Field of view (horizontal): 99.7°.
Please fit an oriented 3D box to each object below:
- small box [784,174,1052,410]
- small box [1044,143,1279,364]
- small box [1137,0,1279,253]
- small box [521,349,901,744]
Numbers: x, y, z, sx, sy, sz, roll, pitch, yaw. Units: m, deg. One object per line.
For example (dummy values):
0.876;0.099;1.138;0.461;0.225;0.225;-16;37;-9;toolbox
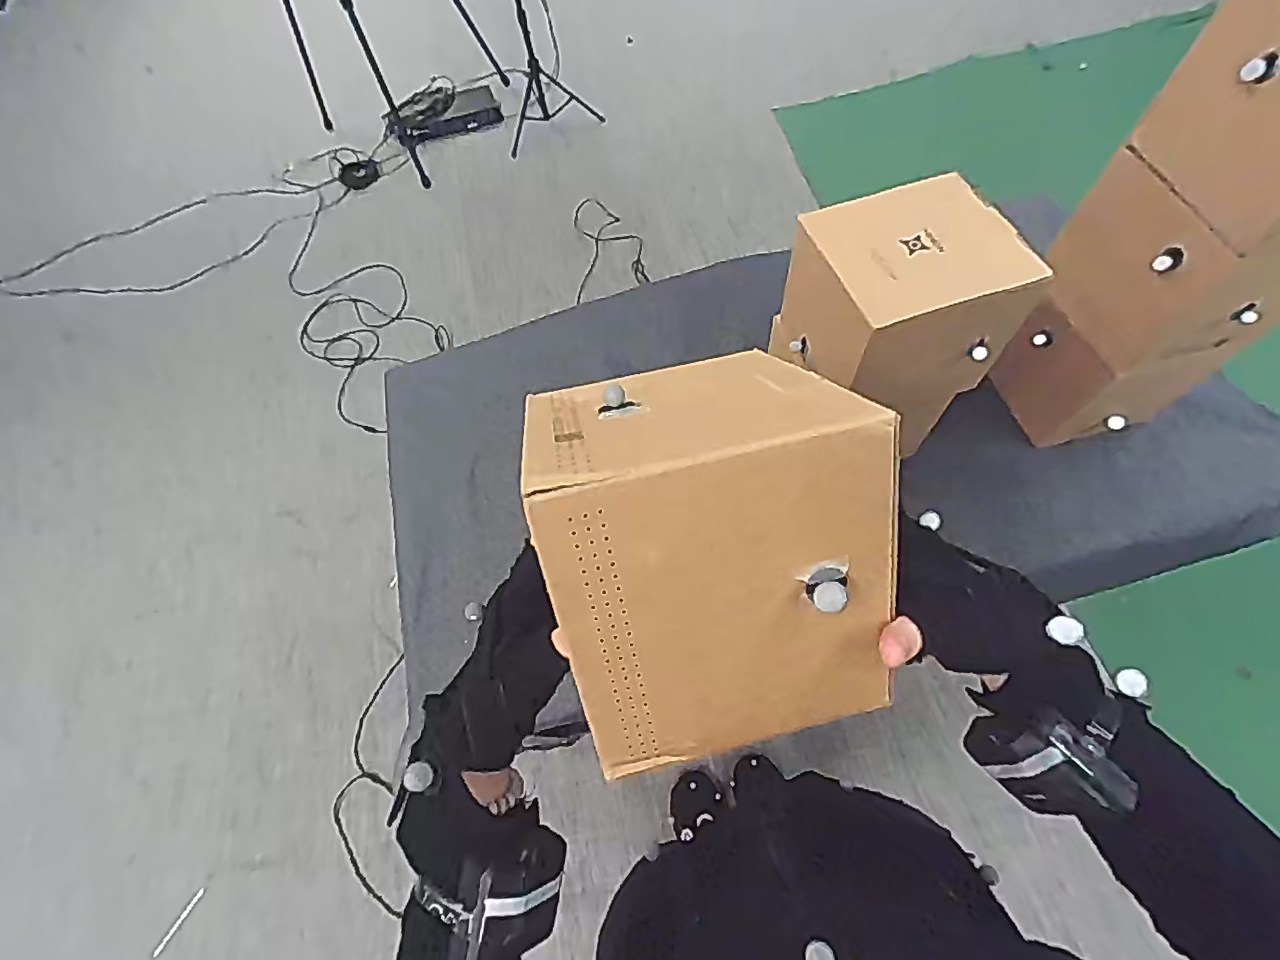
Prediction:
0.276;-0.187;0.589;0.179;0.176;0.168;-17;62;-2;small box
0.592;-0.245;0.579;0.168;0.176;0.179;-13;62;0;small box
0.573;-0.317;0.433;0.168;0.176;0.179;-11;62;2;small box
0.034;0.033;0.334;0.176;0.179;0.168;-14;25;-4;small box
